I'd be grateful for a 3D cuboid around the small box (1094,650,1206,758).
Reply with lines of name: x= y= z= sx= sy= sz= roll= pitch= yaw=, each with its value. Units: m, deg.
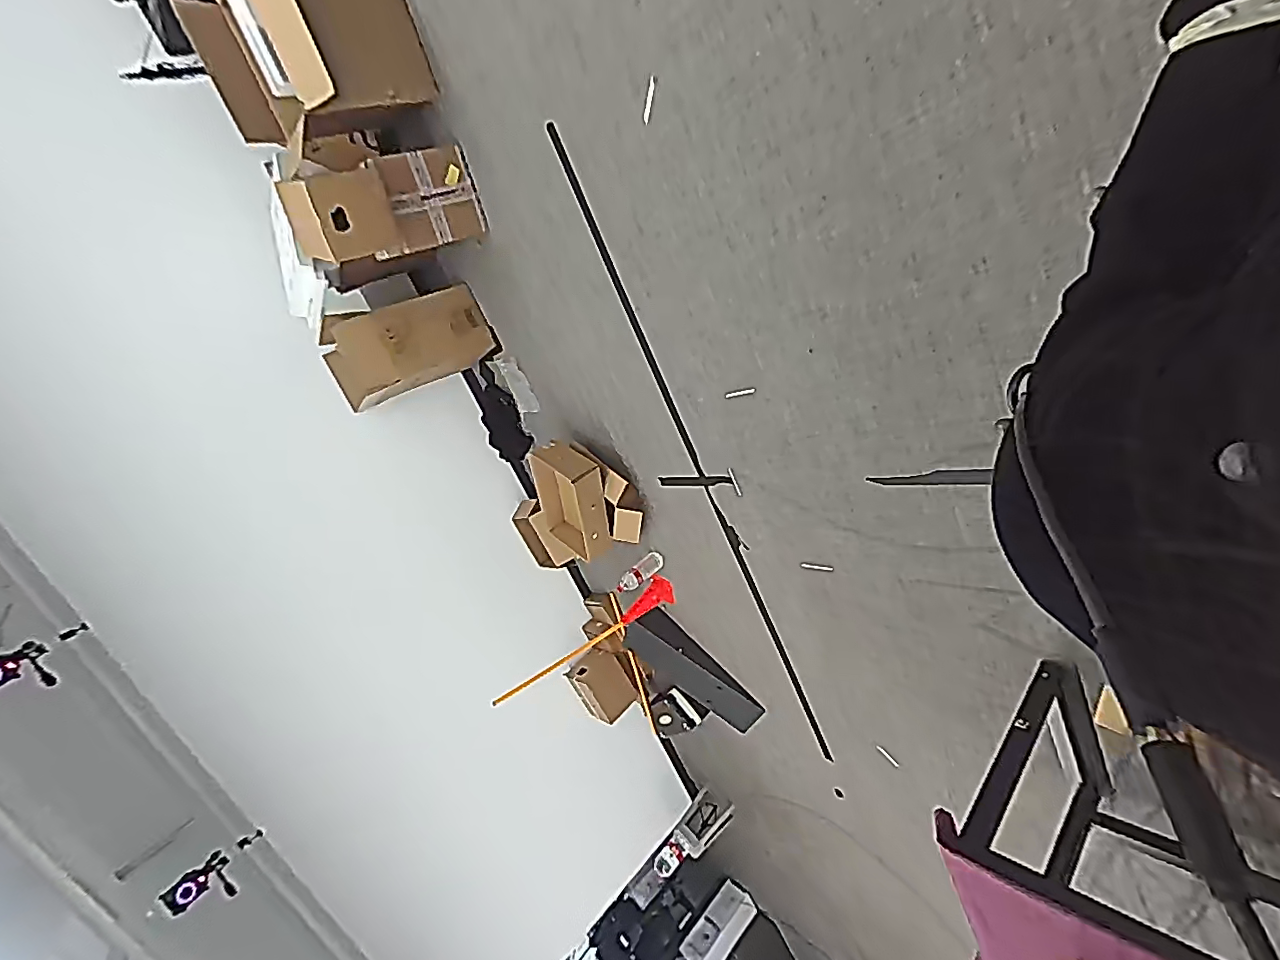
small box: x=1.358 y=0.586 z=1.442 sx=0.179 sy=0.176 sz=0.168 roll=18 pitch=132 yaw=44
